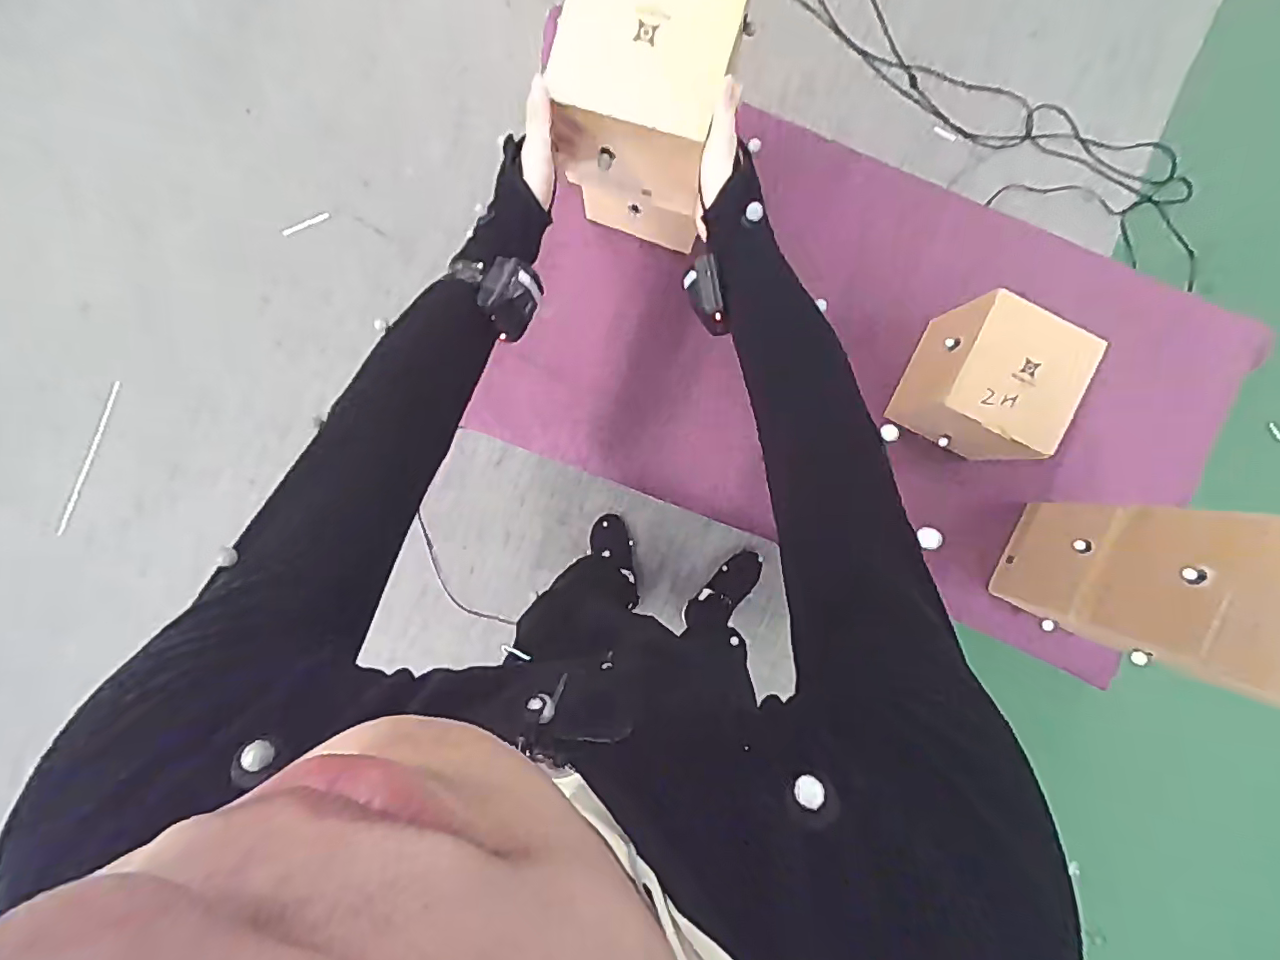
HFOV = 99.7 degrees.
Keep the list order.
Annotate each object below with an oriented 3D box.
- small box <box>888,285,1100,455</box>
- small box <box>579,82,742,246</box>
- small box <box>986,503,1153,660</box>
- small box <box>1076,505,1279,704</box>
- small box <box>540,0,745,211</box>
[{"bbox_3d":[0.504,-0.149,0.800,0.168,0.176,0.179,26,91,-2],"label":"small box"},{"bbox_3d":[0.023,-0.462,0.775,0.179,0.176,0.168,18,91,-2],"label":"small box"},{"bbox_3d":[0.678,0.140,0.812,0.179,0.176,0.168,26,89,-2],"label":"small box"},{"bbox_3d":[0.686,0.140,0.649,0.168,0.176,0.179,26,90,0],"label":"small box"},{"bbox_3d":[0.008,-0.424,0.585,0.168,0.176,0.179,16,93,1],"label":"small box"}]
